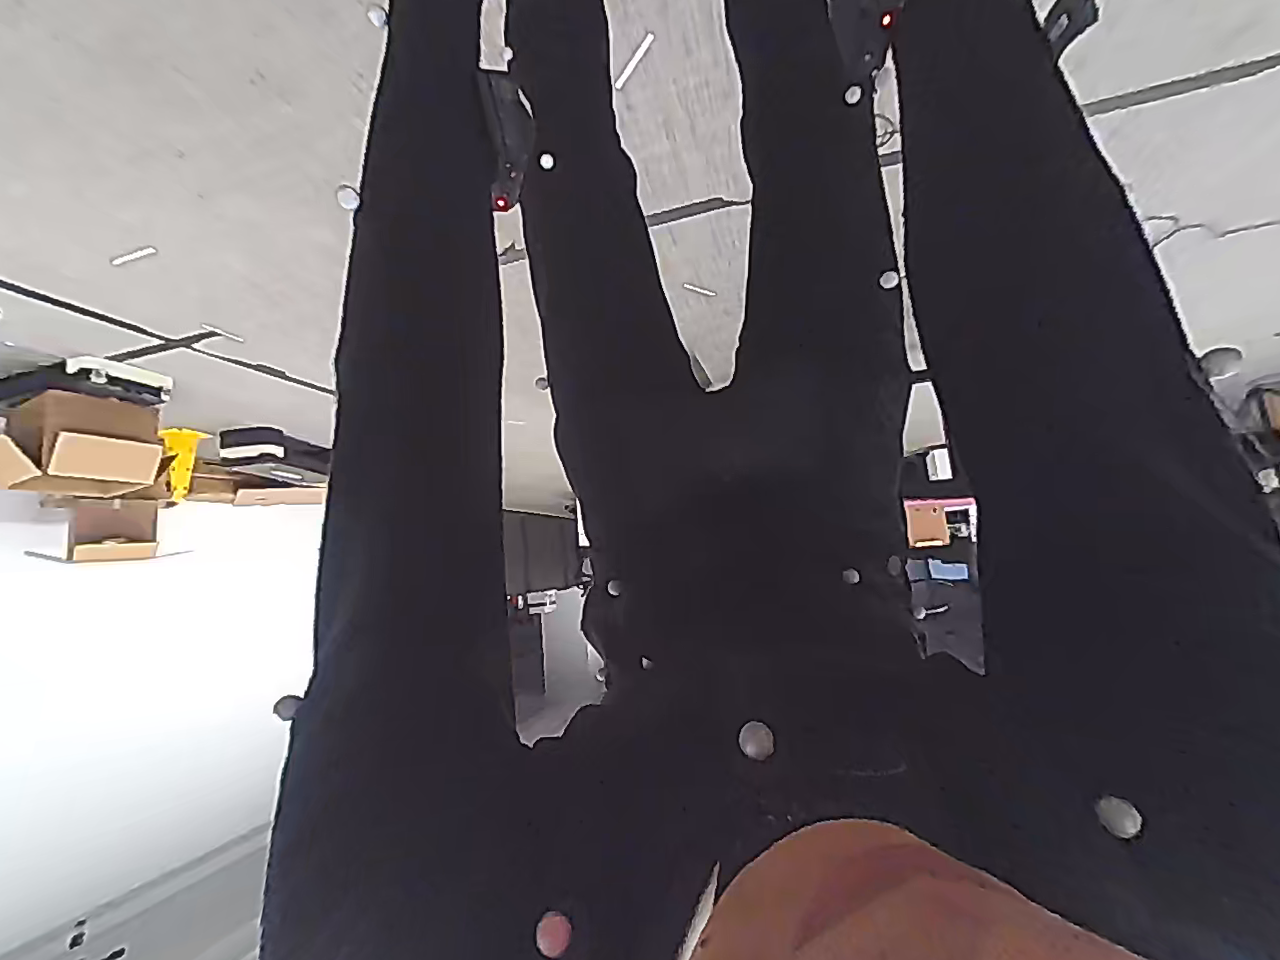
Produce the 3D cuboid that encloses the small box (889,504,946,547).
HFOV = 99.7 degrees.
[{"bbox_3d":[1.187,0.195,2.324,0.168,0.176,0.179,-6,171,10],"label":"small box"}]
